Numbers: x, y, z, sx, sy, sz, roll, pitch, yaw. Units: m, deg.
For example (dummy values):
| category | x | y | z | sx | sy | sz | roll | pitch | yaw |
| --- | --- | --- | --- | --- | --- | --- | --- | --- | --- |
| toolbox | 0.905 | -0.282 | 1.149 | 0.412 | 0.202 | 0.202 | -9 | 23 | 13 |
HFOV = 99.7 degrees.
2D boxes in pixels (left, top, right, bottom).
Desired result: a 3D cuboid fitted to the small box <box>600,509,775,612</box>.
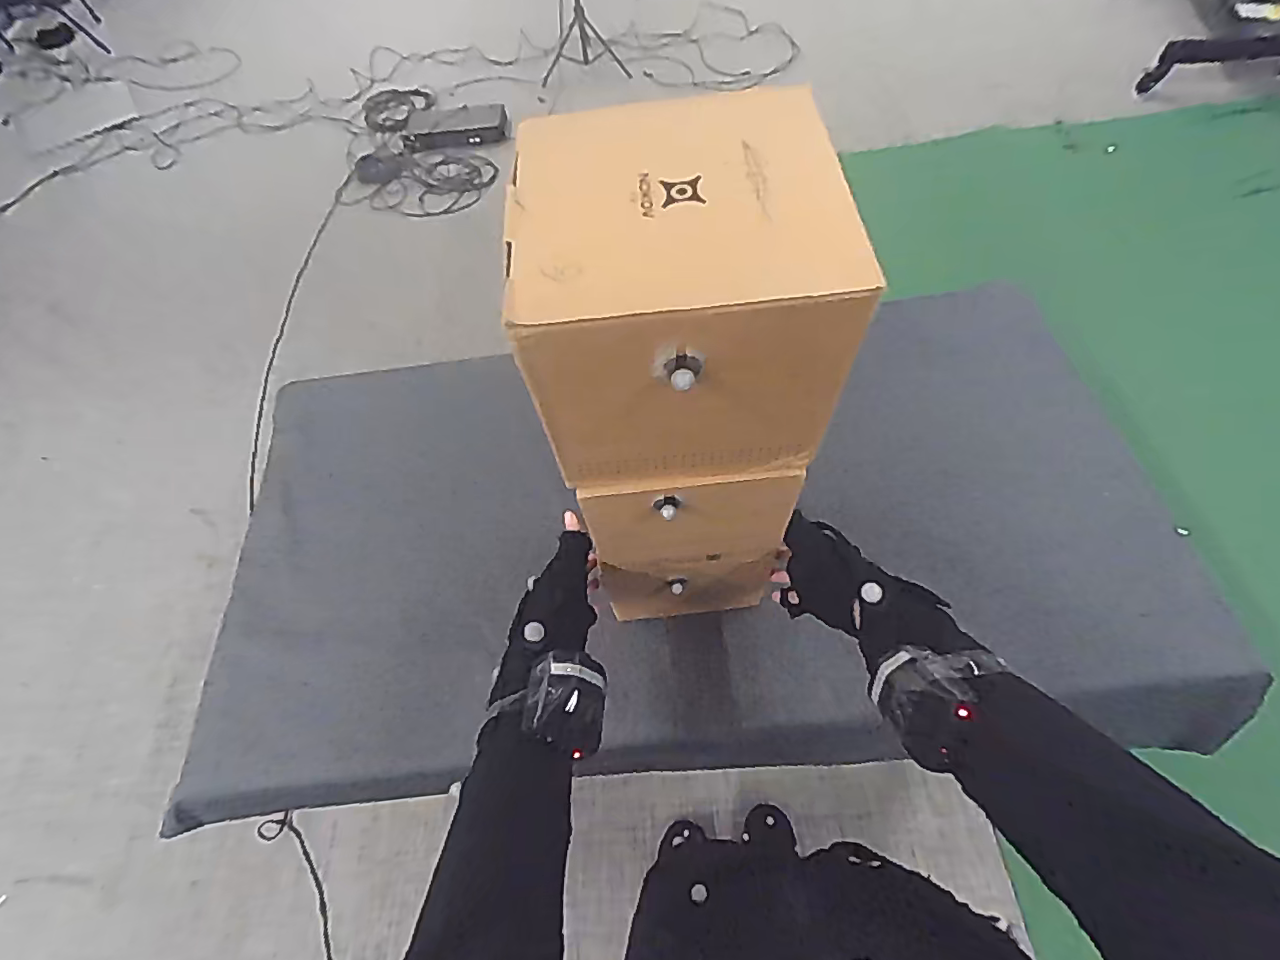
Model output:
| category | x | y | z | sx | sy | sz | roll | pitch | yaw |
| --- | --- | --- | --- | --- | --- | --- | --- | --- | --- |
| small box | 0.050 | 0.050 | 0.644 | 0.179 | 0.176 | 0.168 | -7 | 61 | 2 |

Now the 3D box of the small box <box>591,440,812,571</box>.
| category | x | y | z | sx | sy | sz | roll | pitch | yaw |
| --- | --- | --- | --- | --- | --- | --- | --- | --- | --- |
| small box | 0.041 | -0.032 | 0.506 | 0.168 | 0.176 | 0.179 | -8 | 61 | 0 |

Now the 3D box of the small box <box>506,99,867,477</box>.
| category | x | y | z | sx | sy | sz | roll | pitch | yaw |
| --- | --- | --- | --- | --- | --- | --- | --- | --- | --- |
| small box | 0.023 | -0.113 | 0.363 | 0.179 | 0.176 | 0.168 | -6 | 62 | 2 |
